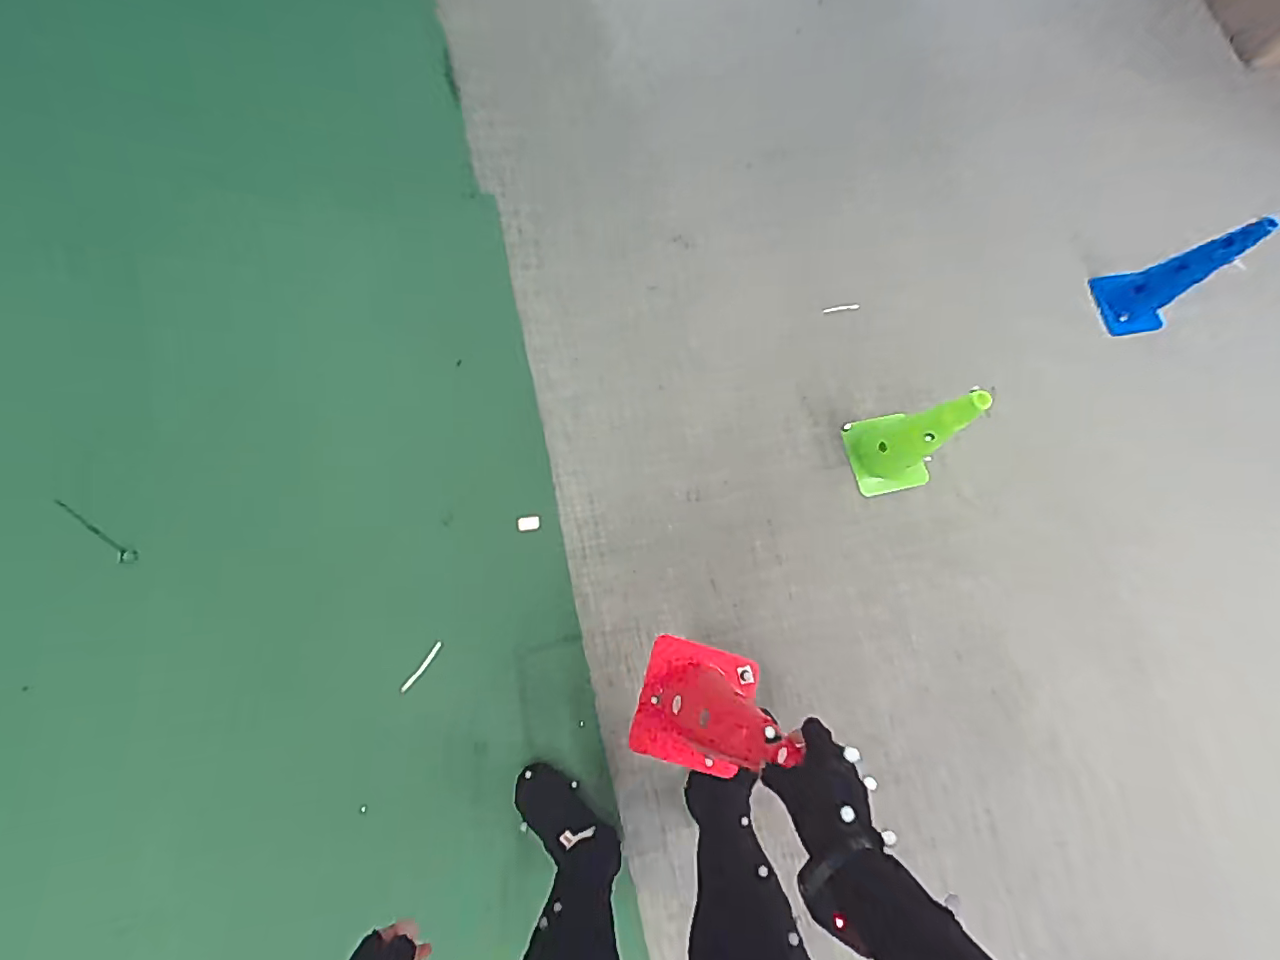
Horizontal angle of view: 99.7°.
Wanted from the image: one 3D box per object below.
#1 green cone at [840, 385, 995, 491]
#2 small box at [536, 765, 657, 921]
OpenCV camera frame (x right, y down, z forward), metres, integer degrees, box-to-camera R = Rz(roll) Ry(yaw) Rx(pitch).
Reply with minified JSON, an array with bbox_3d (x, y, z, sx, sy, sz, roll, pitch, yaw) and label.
[{"bbox_3d":[0.654,-0.120,1.235,0.202,0.368,0.200,-13,78,-11],"label":"green cone"},{"bbox_3d":[-0.093,0.701,1.072,0.168,0.176,0.179,-22,81,-23],"label":"small box"}]
